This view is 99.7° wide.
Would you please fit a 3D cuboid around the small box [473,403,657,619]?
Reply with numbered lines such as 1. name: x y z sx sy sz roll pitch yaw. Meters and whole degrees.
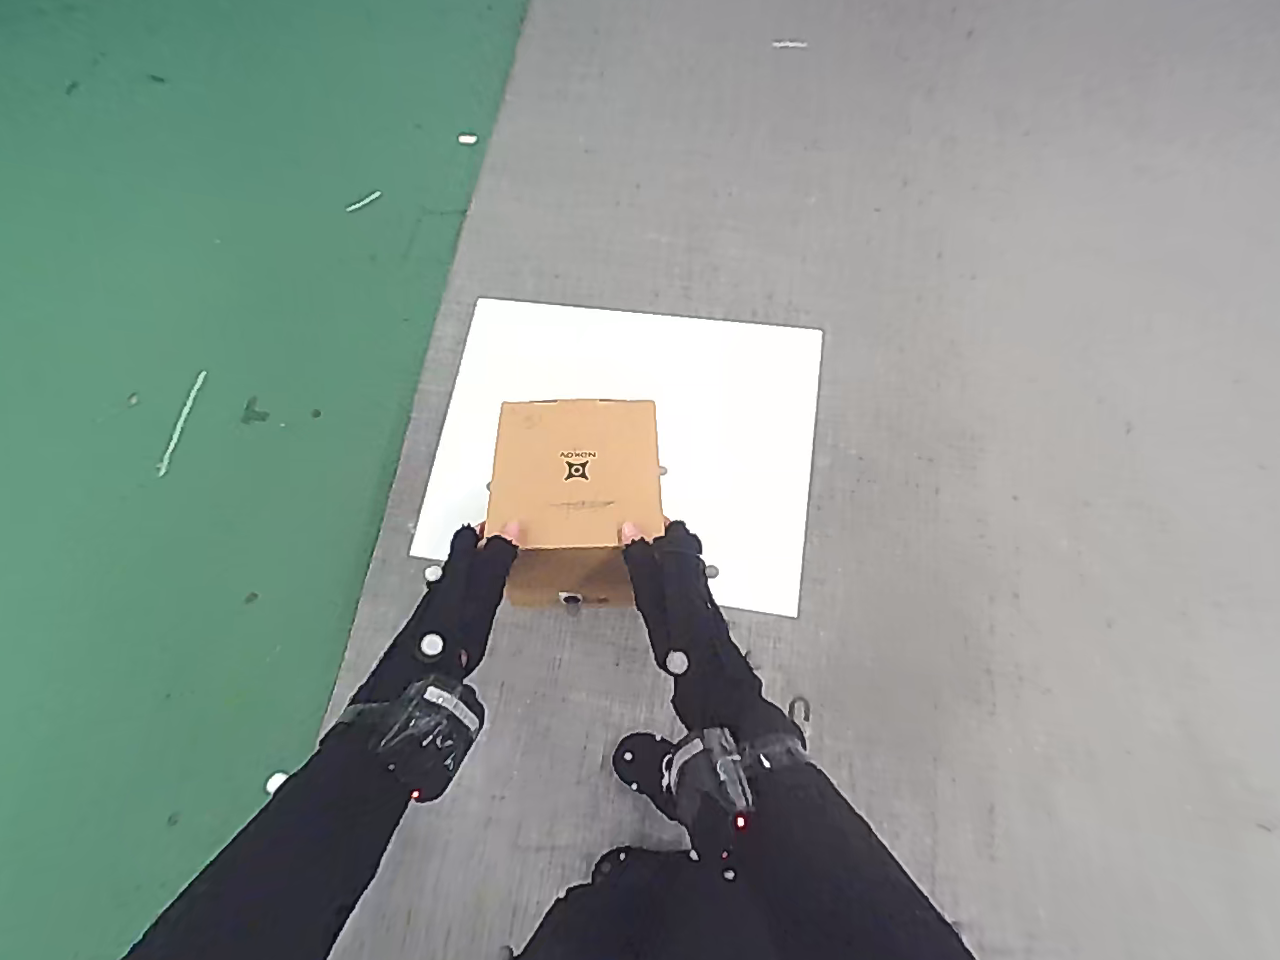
1. small box: -0.071 0.037 0.590 0.168 0.176 0.179 -3 58 -2
